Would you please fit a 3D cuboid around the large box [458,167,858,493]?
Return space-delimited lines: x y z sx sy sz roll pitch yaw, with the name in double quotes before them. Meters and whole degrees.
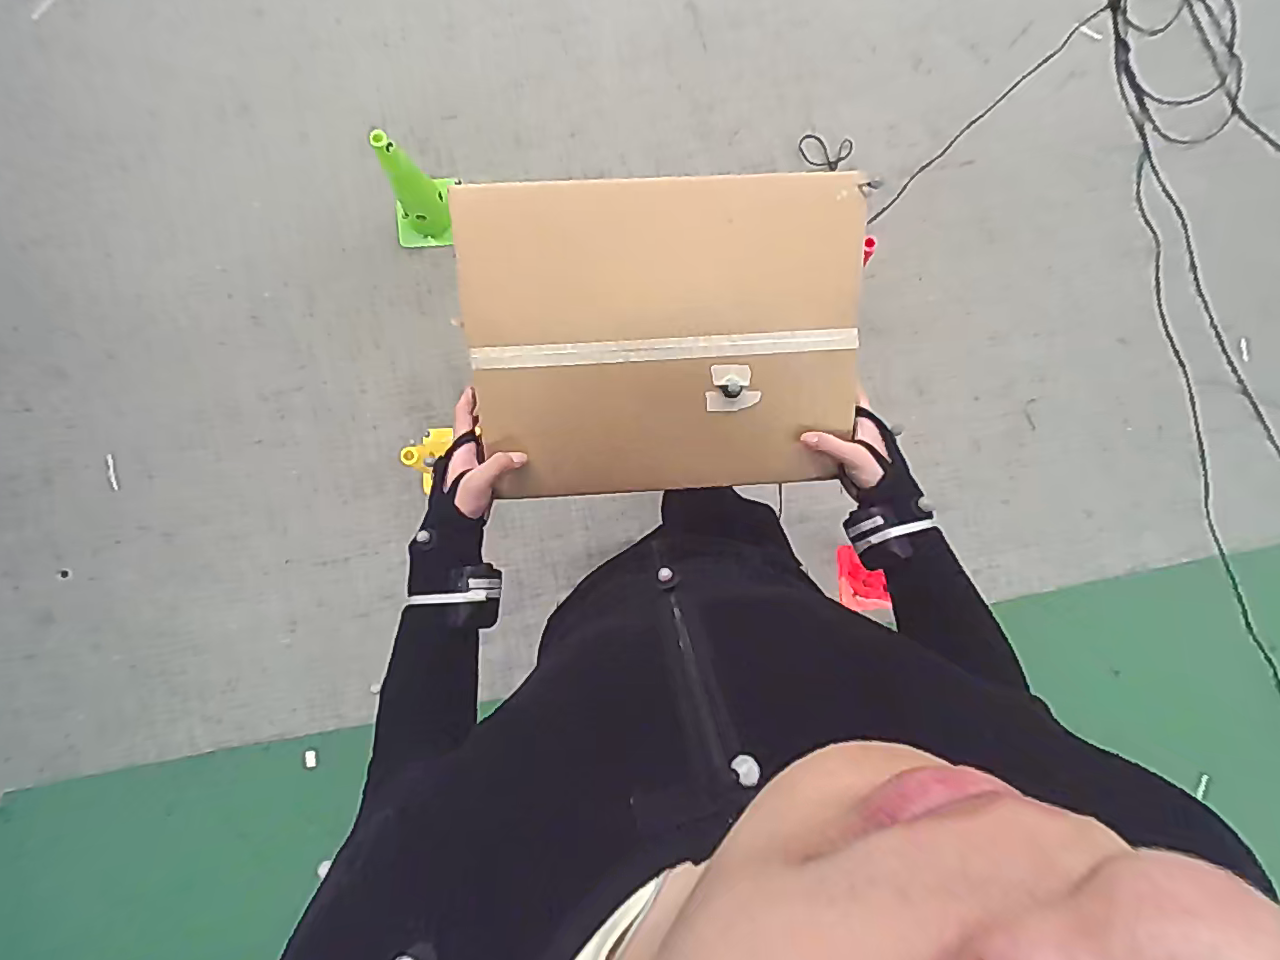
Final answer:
"large box" 0.019 -0.190 0.713 0.408 0.320 0.320 -4 108 -3

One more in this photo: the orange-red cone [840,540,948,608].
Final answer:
"orange-red cone" 0.711 0.284 1.461 0.199 0.360 0.198 -4 91 -3

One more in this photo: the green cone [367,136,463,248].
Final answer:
"green cone" -0.630 -0.797 1.447 0.200 0.368 0.202 -5 91 -1
